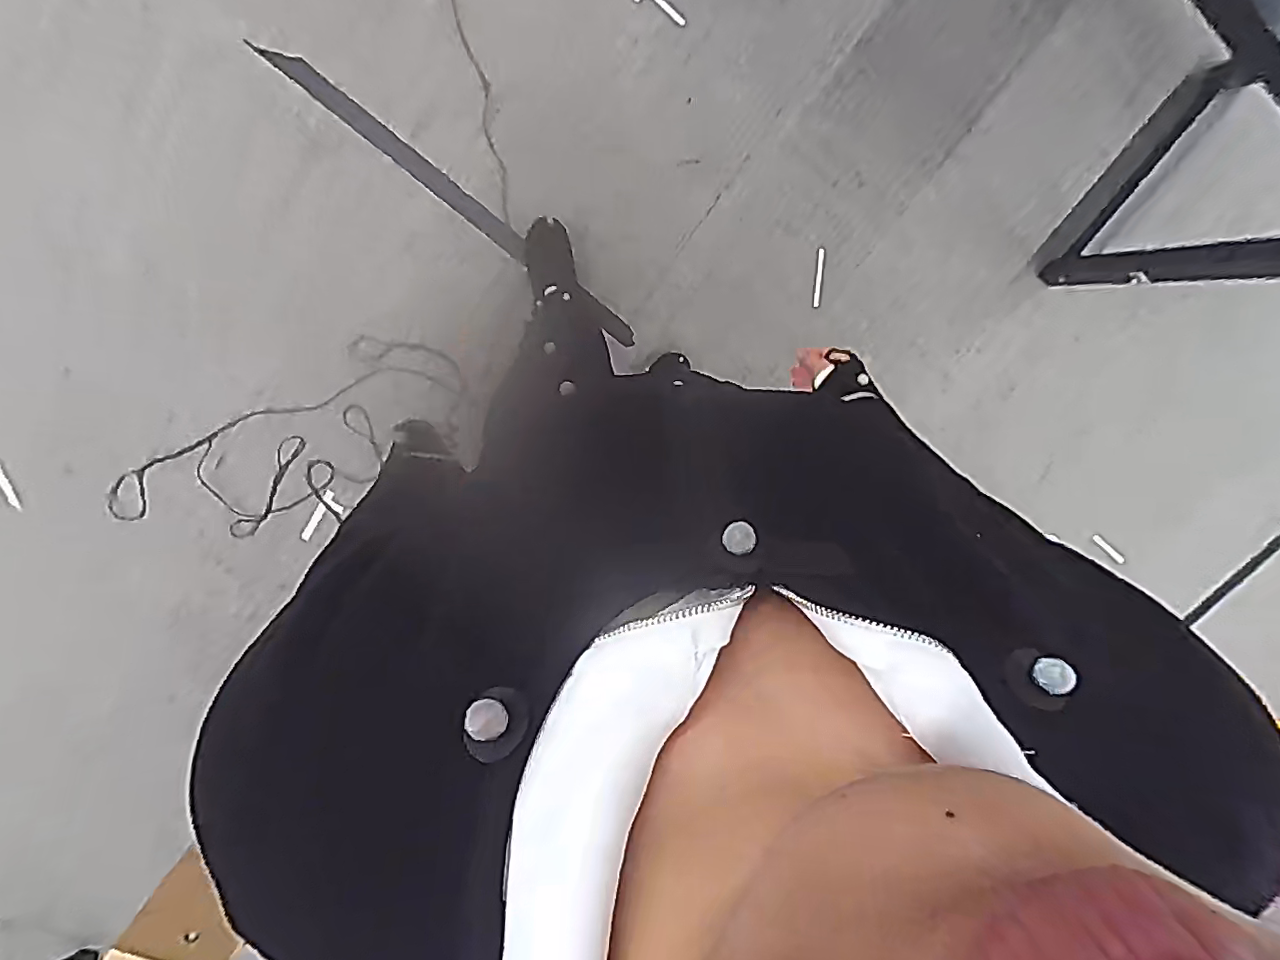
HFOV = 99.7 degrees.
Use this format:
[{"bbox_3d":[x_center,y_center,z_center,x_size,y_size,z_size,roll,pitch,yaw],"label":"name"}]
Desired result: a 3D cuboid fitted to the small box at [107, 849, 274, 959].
[{"bbox_3d":[-0.822,0.825,0.990,0.179,0.176,0.168,28,101,-11],"label":"small box"}]
